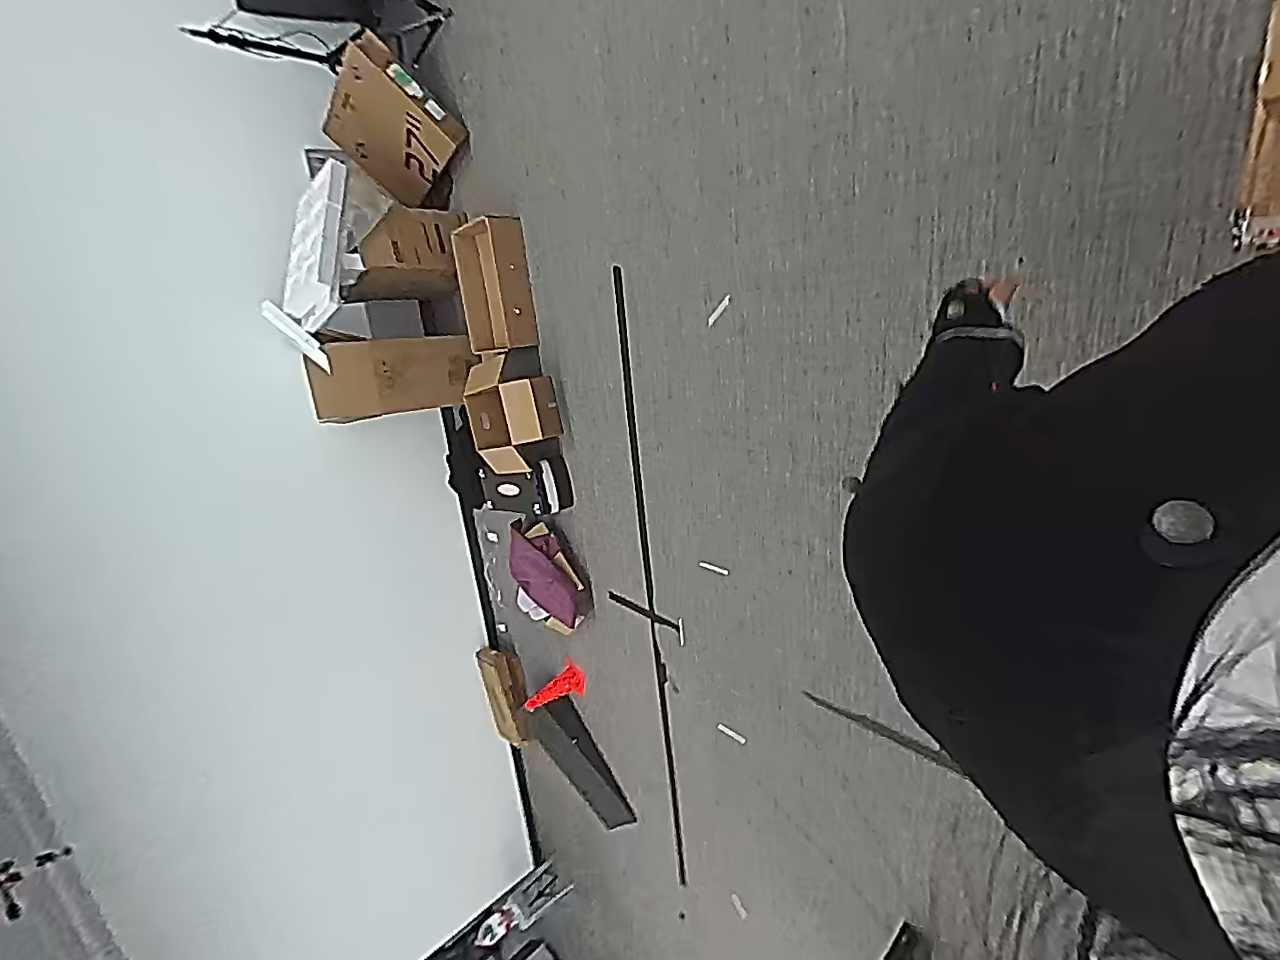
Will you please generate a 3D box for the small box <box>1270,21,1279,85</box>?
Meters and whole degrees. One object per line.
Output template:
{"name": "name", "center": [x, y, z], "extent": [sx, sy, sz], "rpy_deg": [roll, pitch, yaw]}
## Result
{"name": "small box", "center": [0.711, -0.475, 0.486], "extent": [0.168, 0.176, 0.179], "rpy_deg": [12, 117, 50]}
